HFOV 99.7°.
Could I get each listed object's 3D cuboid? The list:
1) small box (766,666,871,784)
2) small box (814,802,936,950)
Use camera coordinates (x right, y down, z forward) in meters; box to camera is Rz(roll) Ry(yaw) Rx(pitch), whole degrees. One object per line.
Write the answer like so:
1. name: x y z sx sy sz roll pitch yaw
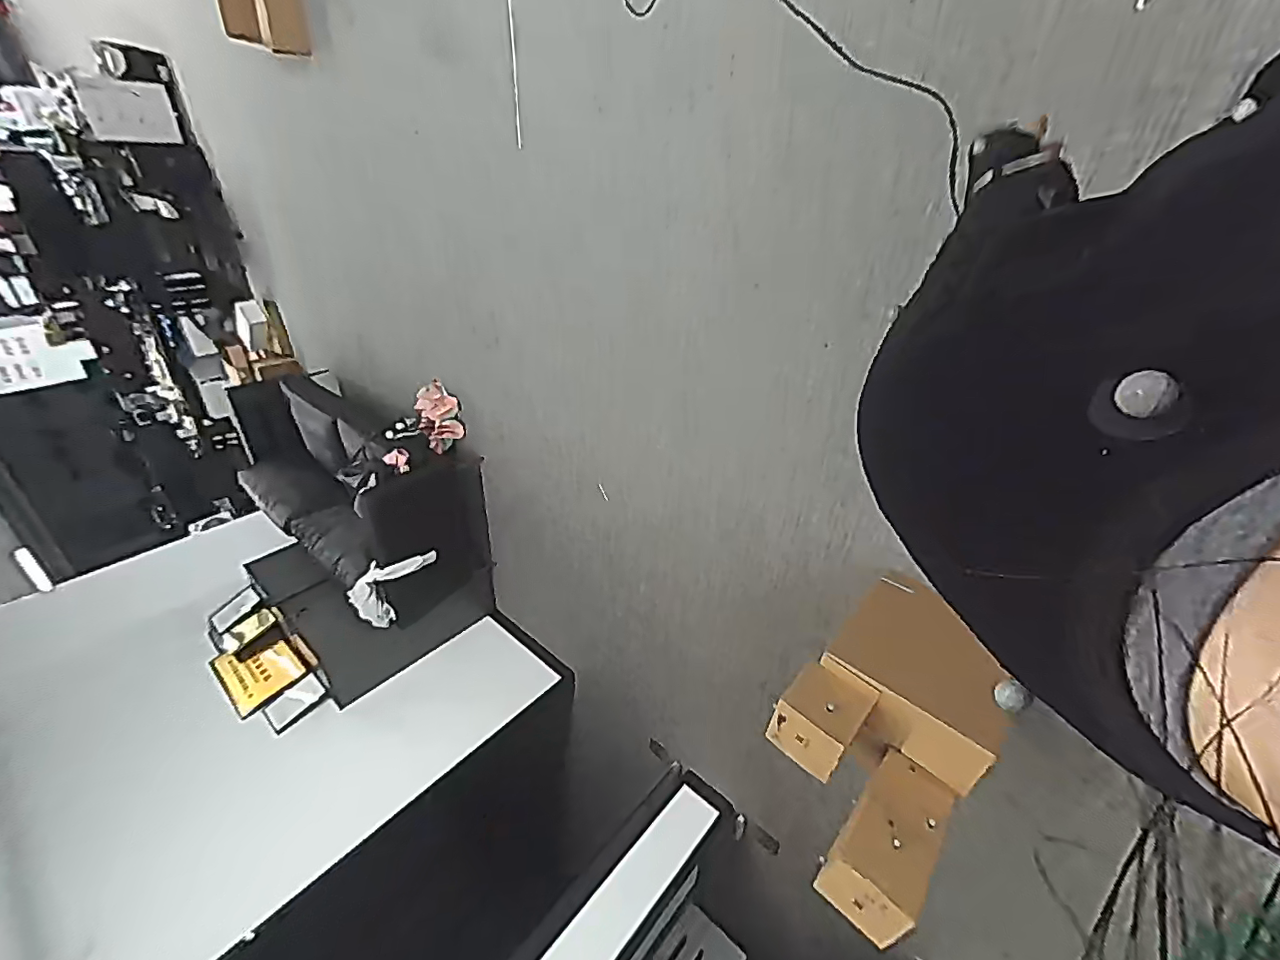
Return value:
1. small box: 0.450 0.606 1.359 0.179 0.176 0.168 30 128 30
2. small box: 0.517 0.859 1.185 0.168 0.176 0.179 32 131 28
